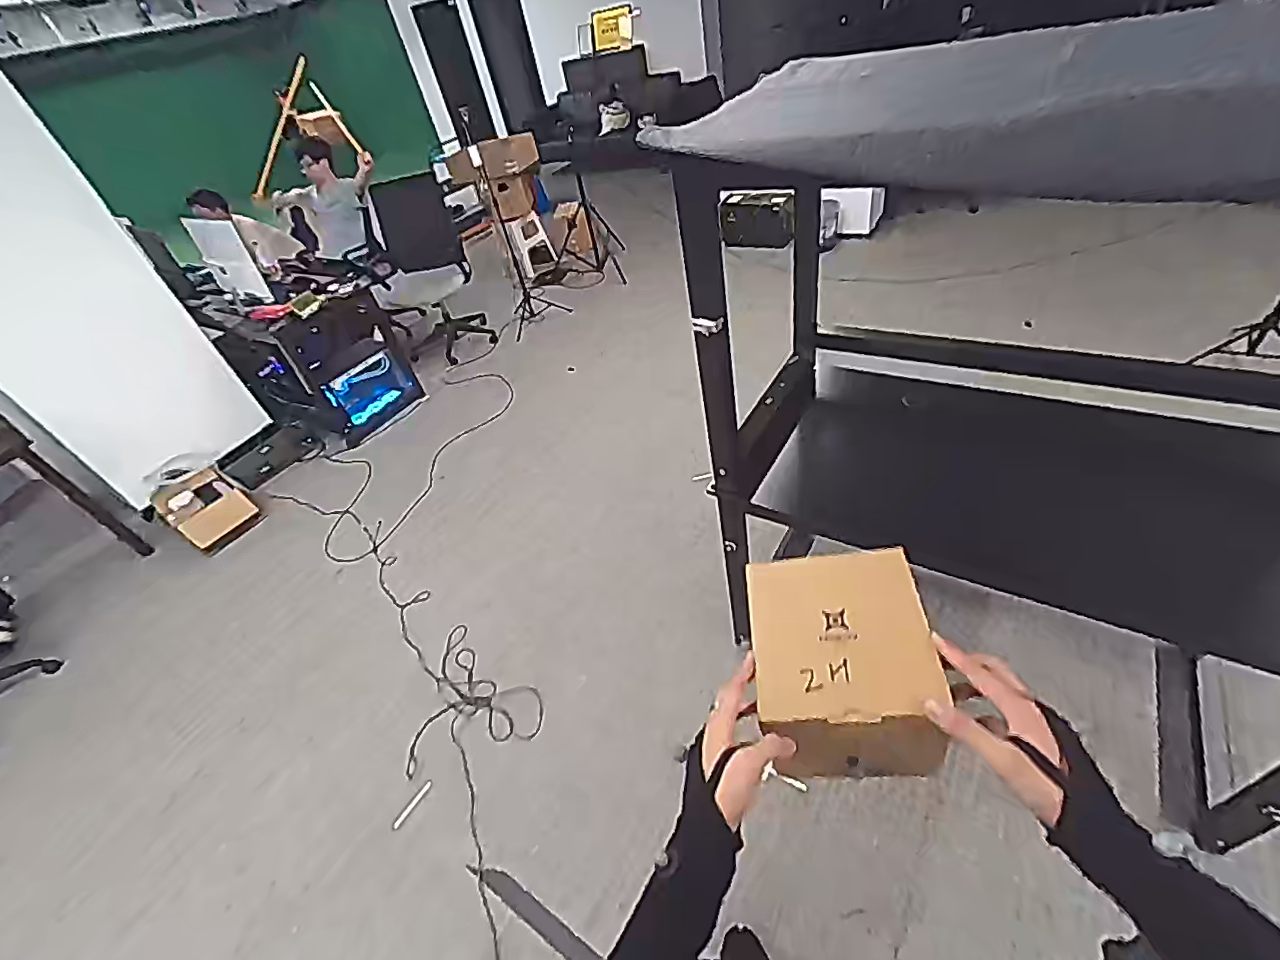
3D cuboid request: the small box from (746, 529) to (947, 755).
[{"bbox_3d":[0.209,0.177,0.585,0.168,0.176,0.179,-8,47,15],"label":"small box"}]
